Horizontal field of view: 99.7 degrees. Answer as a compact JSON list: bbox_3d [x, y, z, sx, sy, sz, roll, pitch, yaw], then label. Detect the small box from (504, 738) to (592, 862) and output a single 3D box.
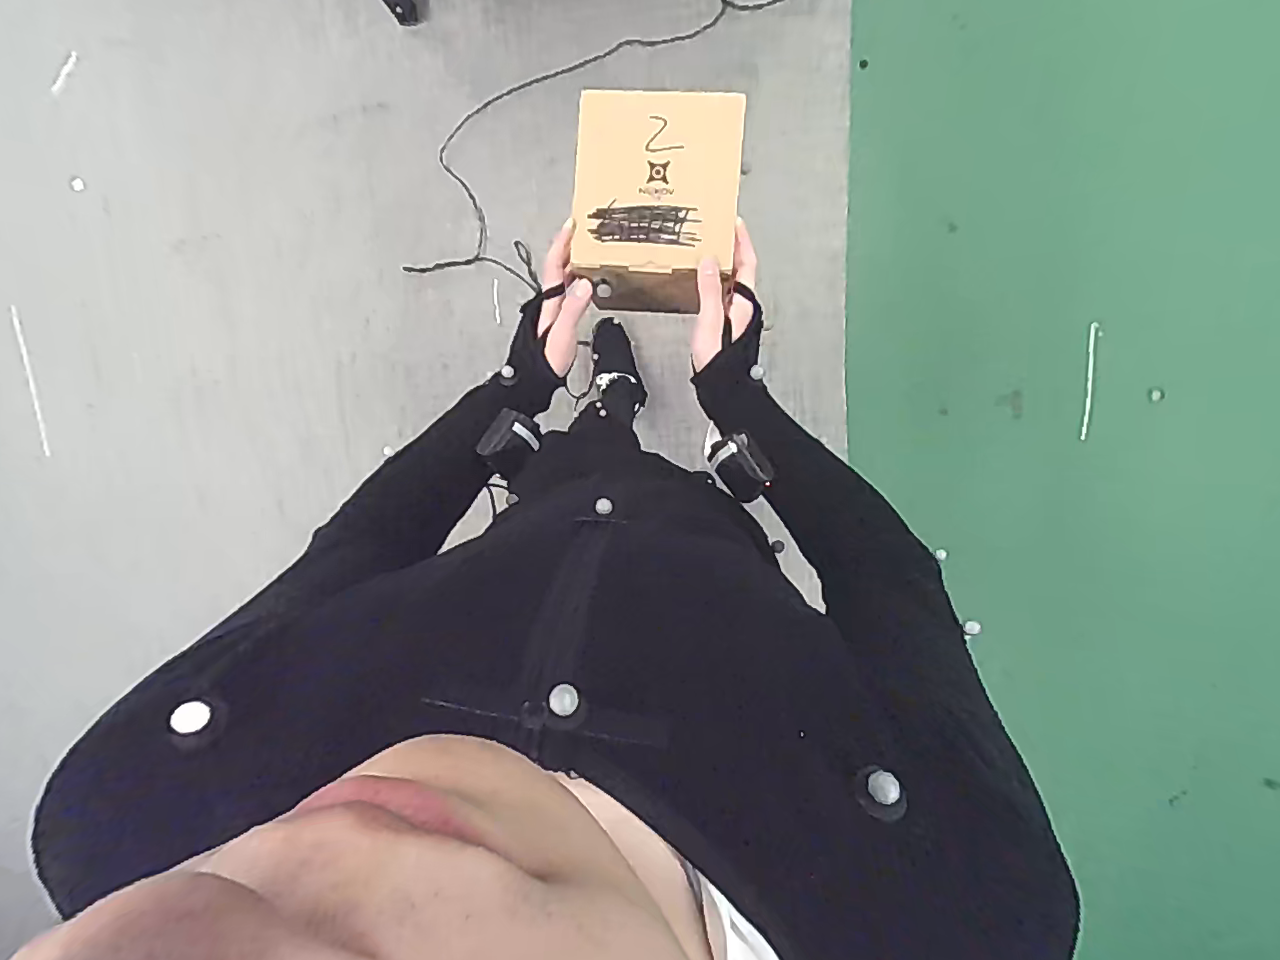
[{"bbox_3d":[-0.203,0.725,1.237,0.168,0.176,0.179,1,99,4],"label":"small box"}]
